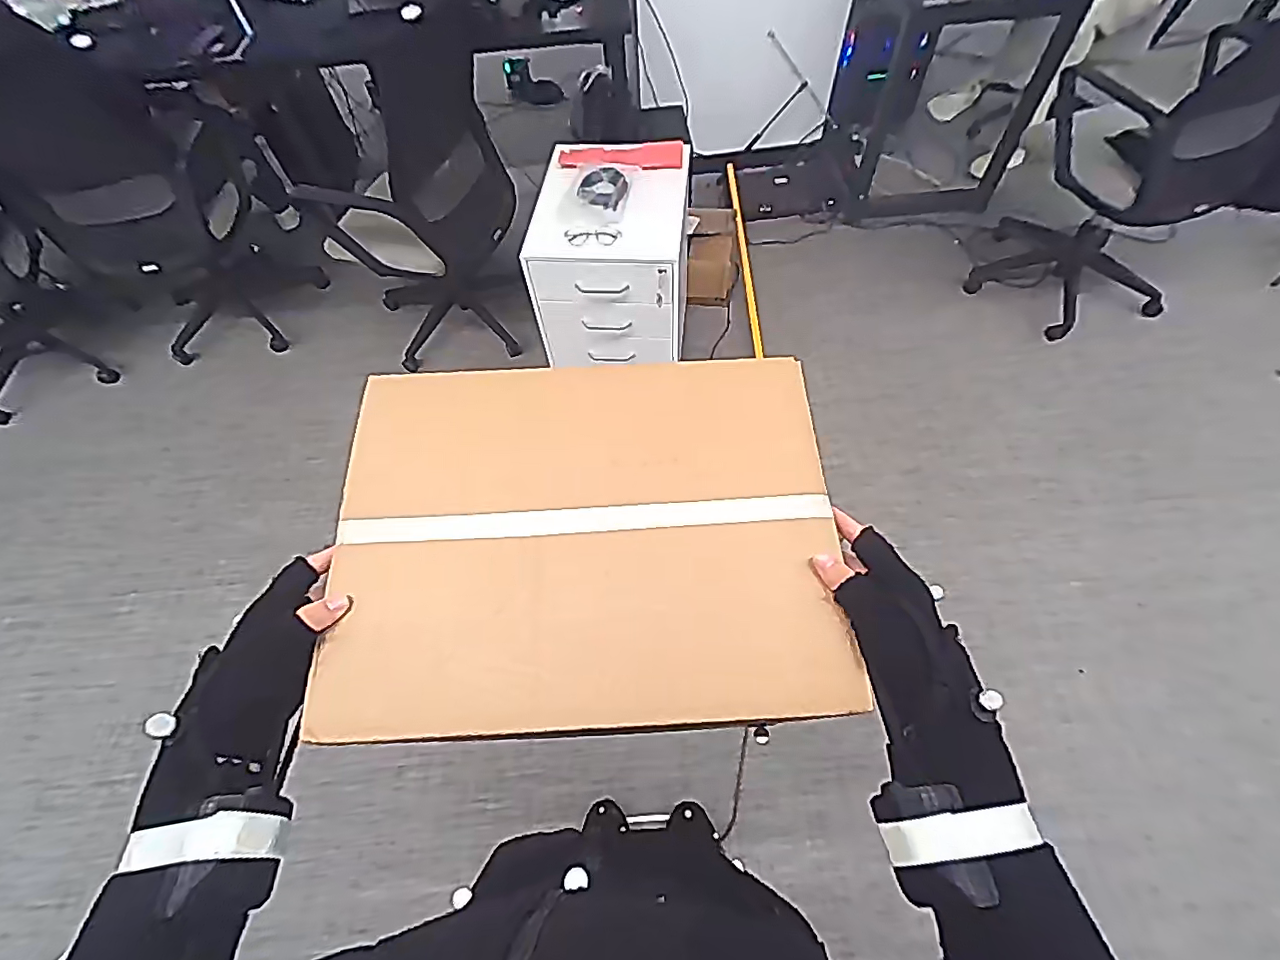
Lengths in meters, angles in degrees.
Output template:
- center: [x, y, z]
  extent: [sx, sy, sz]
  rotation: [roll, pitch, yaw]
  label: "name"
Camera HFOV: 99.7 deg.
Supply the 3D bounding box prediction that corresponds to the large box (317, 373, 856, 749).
- center: [-0.044, 0.106, 0.591]
  extent: [0.408, 0.320, 0.320]
  rotation: [-2, 64, -1]
  label: "large box"
